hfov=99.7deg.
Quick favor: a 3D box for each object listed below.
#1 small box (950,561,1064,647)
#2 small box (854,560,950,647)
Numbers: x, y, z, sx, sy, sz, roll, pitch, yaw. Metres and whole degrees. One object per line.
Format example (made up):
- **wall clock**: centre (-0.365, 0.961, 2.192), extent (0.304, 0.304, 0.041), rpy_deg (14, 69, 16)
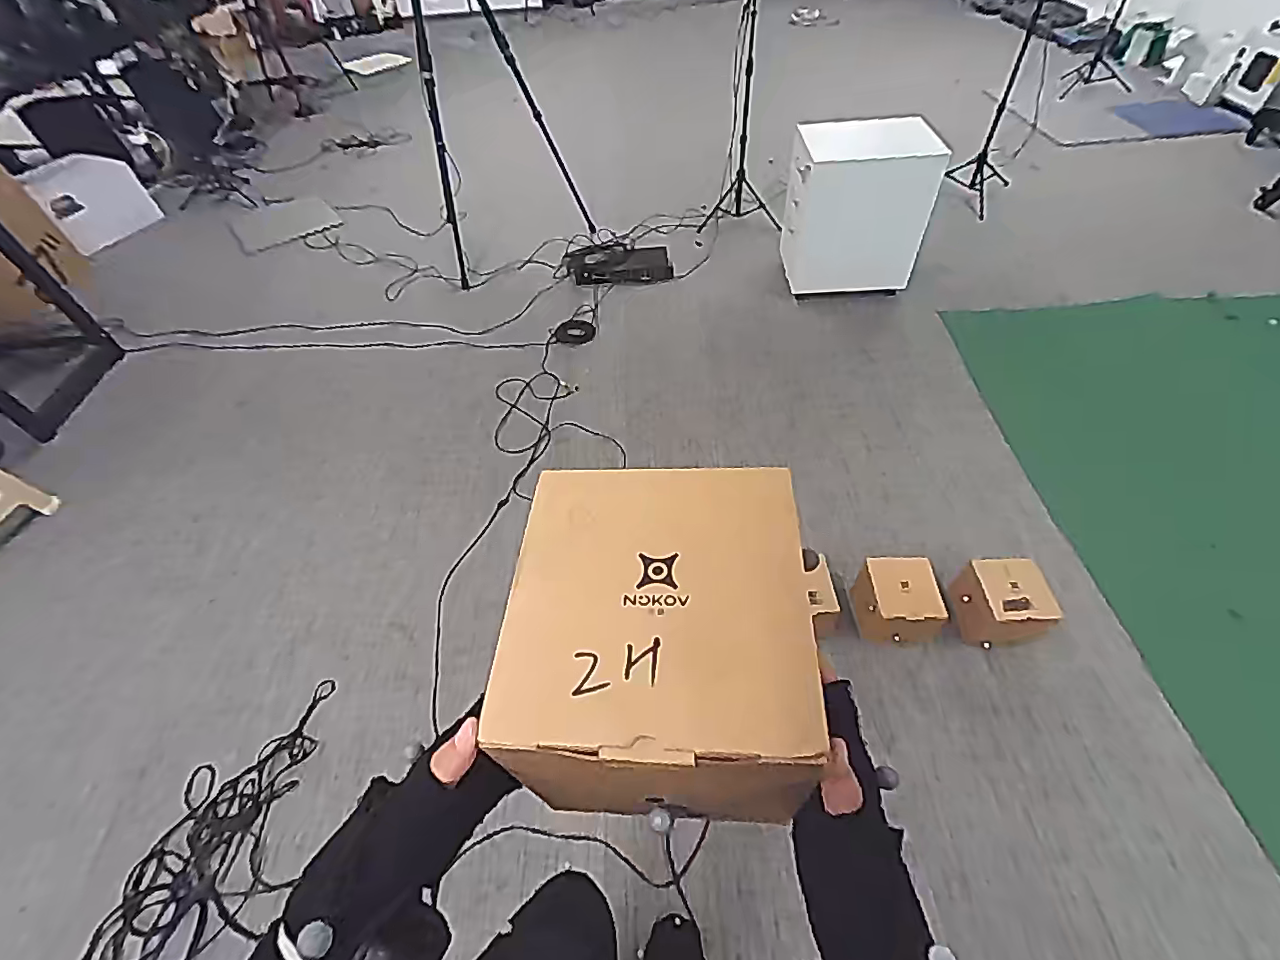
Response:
- **small box**: centre (0.963, 0.335, 1.438), extent (0.168, 0.176, 0.179), rpy_deg (-2, 50, 3)
- **small box**: centre (0.695, 0.333, 1.459), extent (0.168, 0.176, 0.179), rpy_deg (-1, 51, 3)
